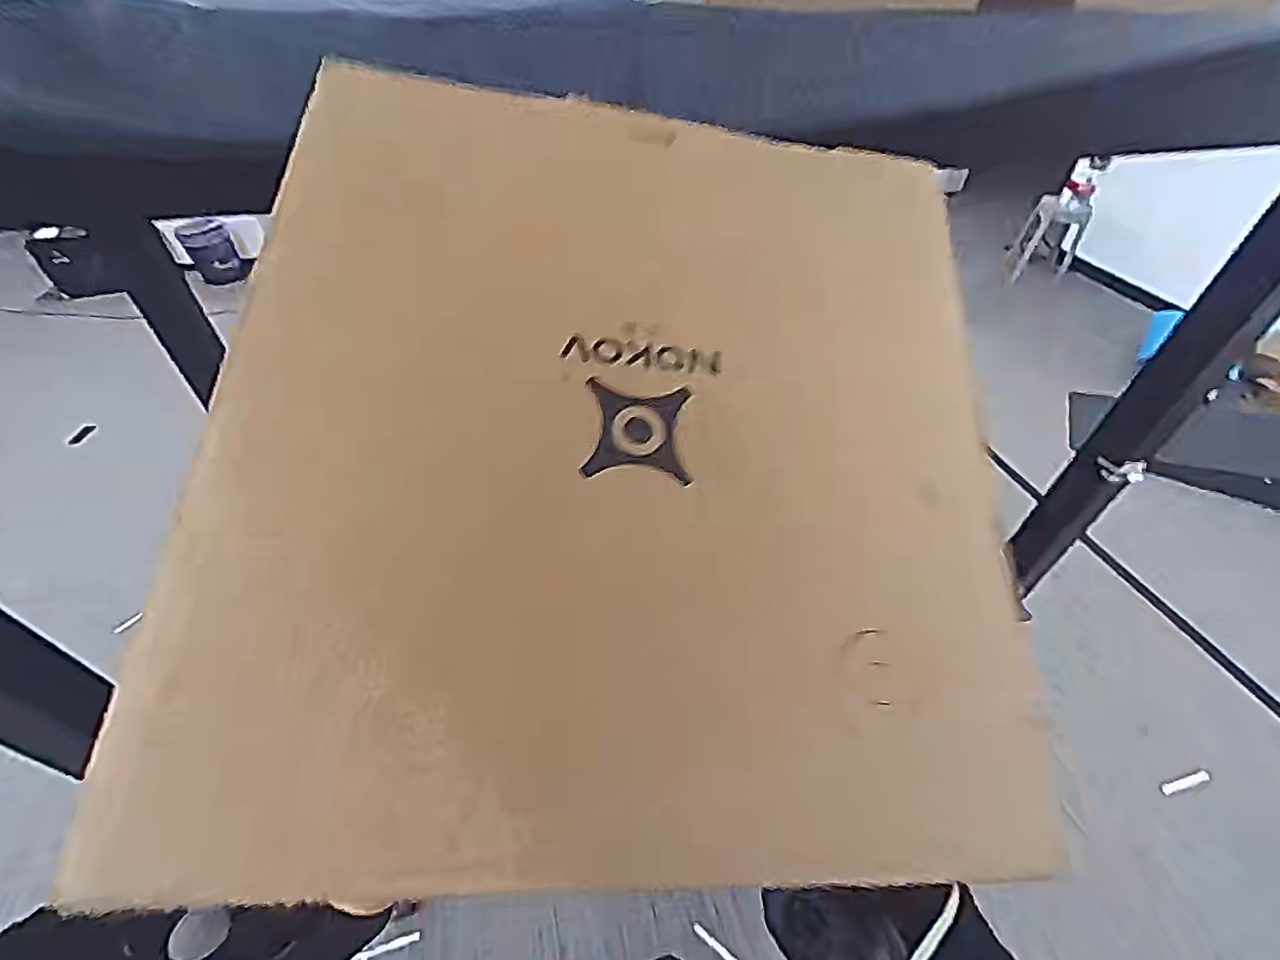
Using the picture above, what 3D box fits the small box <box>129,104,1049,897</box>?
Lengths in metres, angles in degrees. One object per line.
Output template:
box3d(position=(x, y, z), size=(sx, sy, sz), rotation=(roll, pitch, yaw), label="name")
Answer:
box3d(position=(-0.010, 0.015, 0.197), size=(0.168, 0.176, 0.179), rotation=(4, 69, -8), label="small box")
